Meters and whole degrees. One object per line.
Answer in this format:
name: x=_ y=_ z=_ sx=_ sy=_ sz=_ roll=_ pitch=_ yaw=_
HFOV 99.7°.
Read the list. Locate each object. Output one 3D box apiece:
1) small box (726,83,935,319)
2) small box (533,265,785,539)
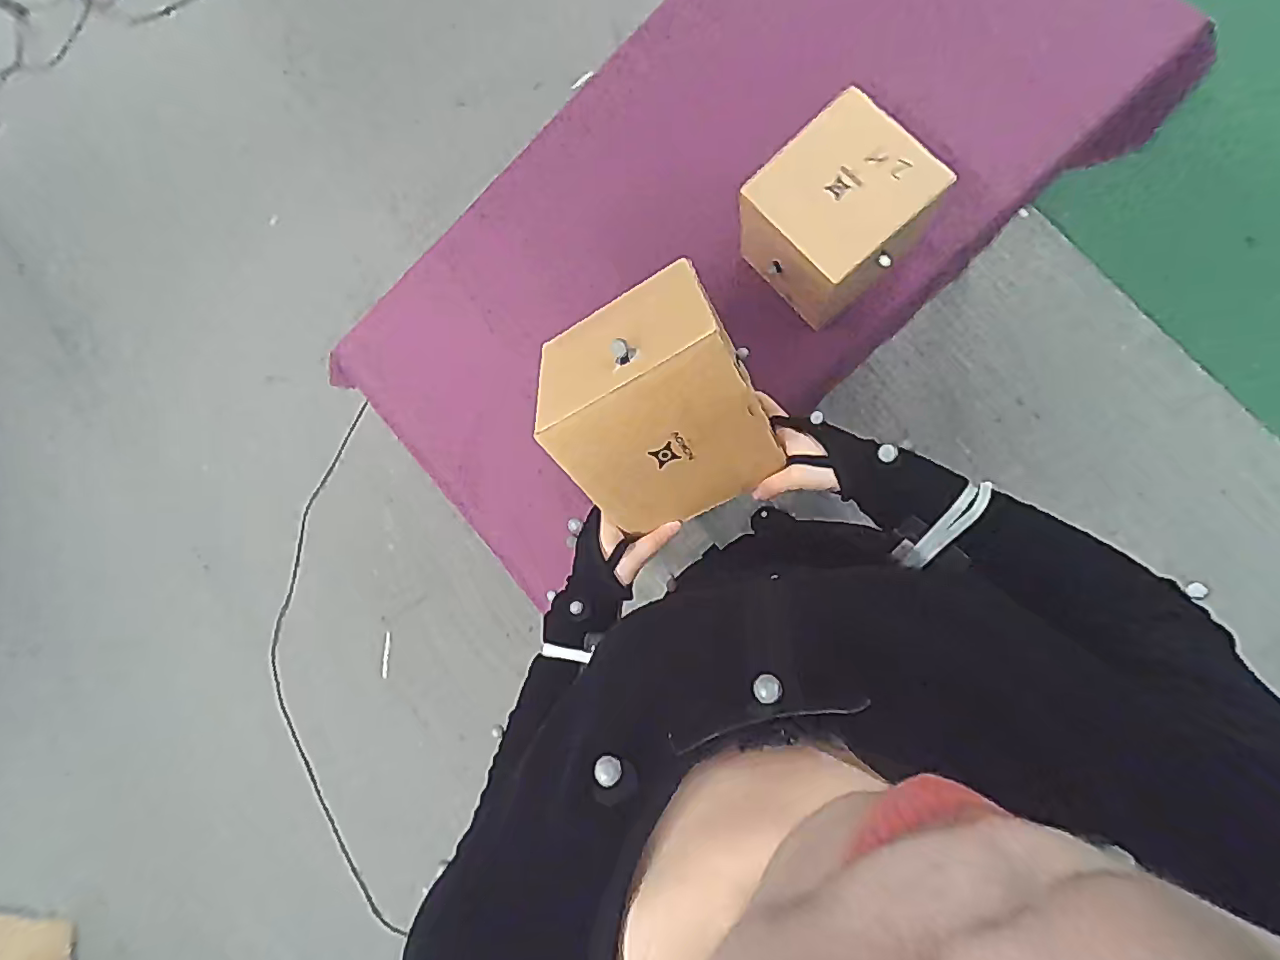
small box: x=0.234 y=-0.343 z=0.705 sx=0.179 sy=0.176 sz=0.168 roll=-43 pitch=81 yaw=6
small box: x=0.016 y=-0.079 z=0.538 sx=0.179 sy=0.168 sz=0.176 roll=-27 pitch=38 yaw=15
